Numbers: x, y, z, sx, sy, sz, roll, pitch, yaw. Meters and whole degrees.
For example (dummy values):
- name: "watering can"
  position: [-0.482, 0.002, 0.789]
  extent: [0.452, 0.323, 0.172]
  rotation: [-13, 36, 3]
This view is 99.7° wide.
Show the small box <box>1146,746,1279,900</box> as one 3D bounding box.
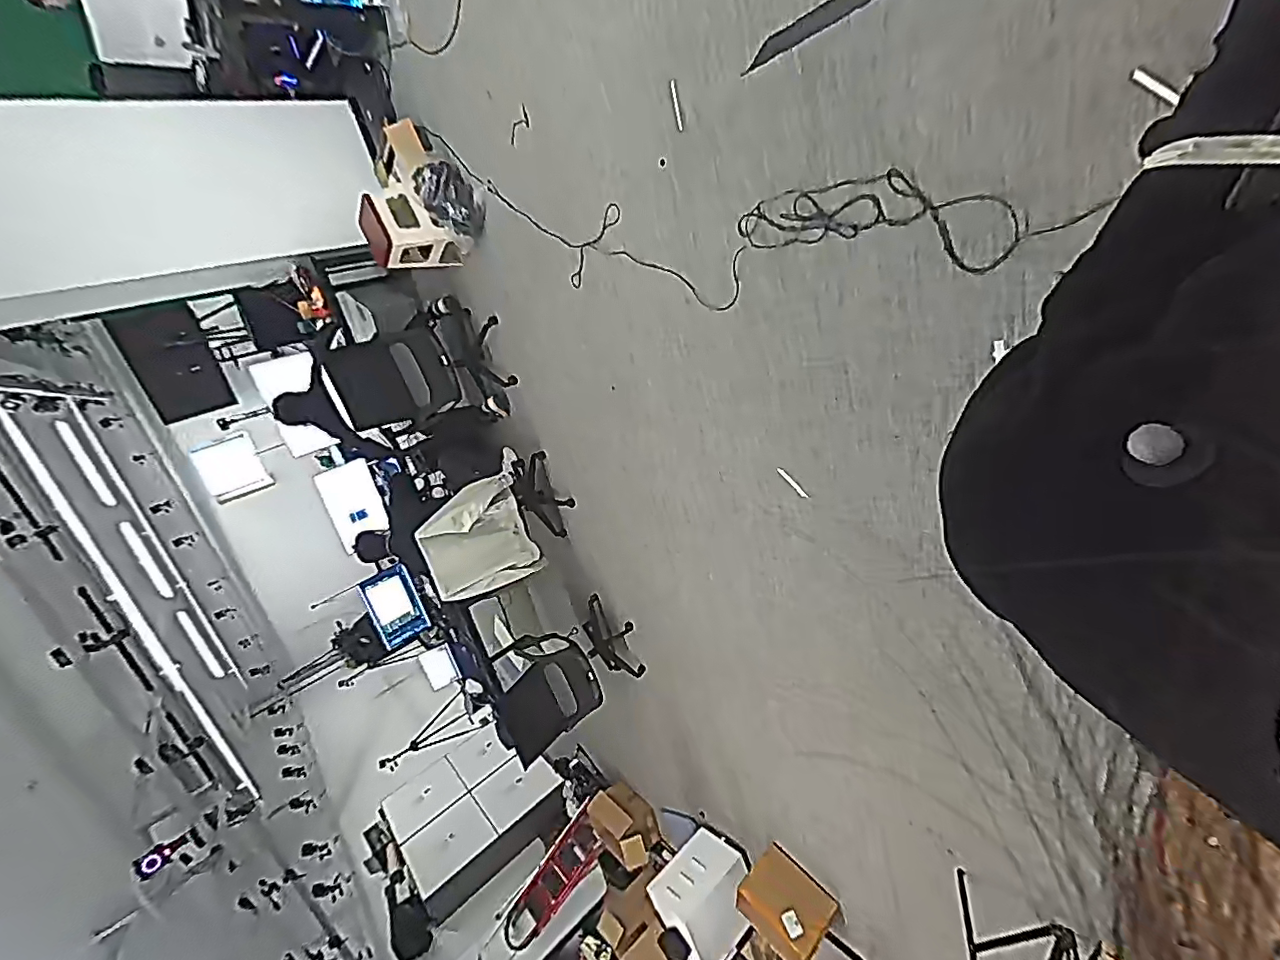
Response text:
- name: "small box"
  position: [1.094, 0.655, 1.034]
  extent: [0.179, 0.176, 0.168]
  rotation: [19, 127, 46]

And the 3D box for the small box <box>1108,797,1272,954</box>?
- name: "small box"
  position: [0.965, 0.714, 0.950]
  extent: [0.168, 0.176, 0.179]
  rotation: [18, 125, 45]

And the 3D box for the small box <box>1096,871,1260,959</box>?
- name: "small box"
  position: [0.846, 0.787, 0.862]
  extent: [0.168, 0.176, 0.179]
  rotation: [15, 124, 47]
